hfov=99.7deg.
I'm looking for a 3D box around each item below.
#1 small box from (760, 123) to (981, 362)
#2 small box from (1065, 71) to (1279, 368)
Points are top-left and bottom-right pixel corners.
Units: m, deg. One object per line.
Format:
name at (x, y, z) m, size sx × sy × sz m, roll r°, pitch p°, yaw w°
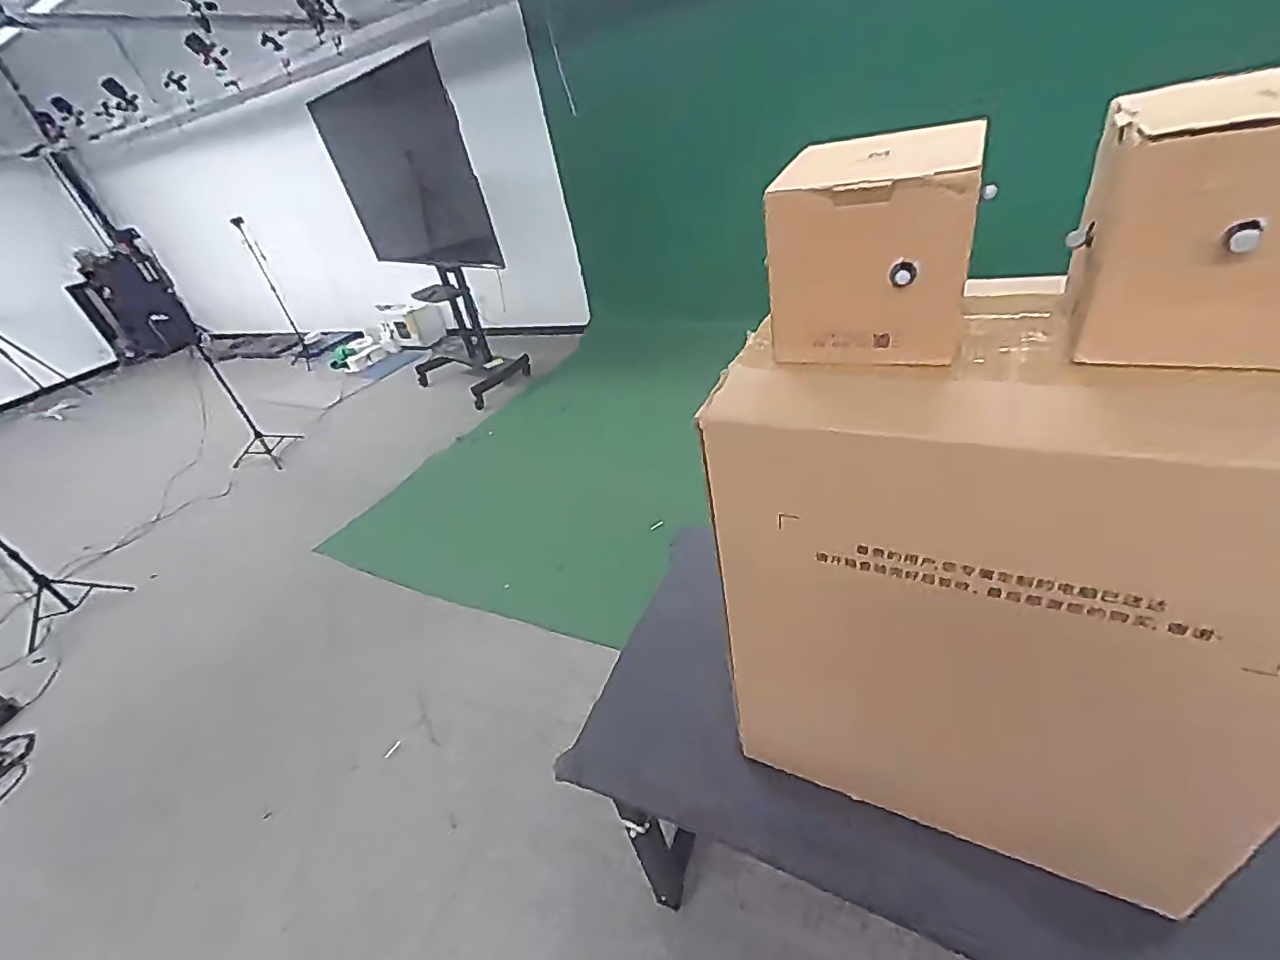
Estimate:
small box at (0.229, -0.230, 0.540) m, size 0.168 × 0.176 × 0.179 m, roll 9°, pitch 43°, yaw 27°
small box at (0.453, -0.199, 0.419) m, size 0.179 × 0.176 × 0.168 m, roll 8°, pitch 44°, yaw 29°
